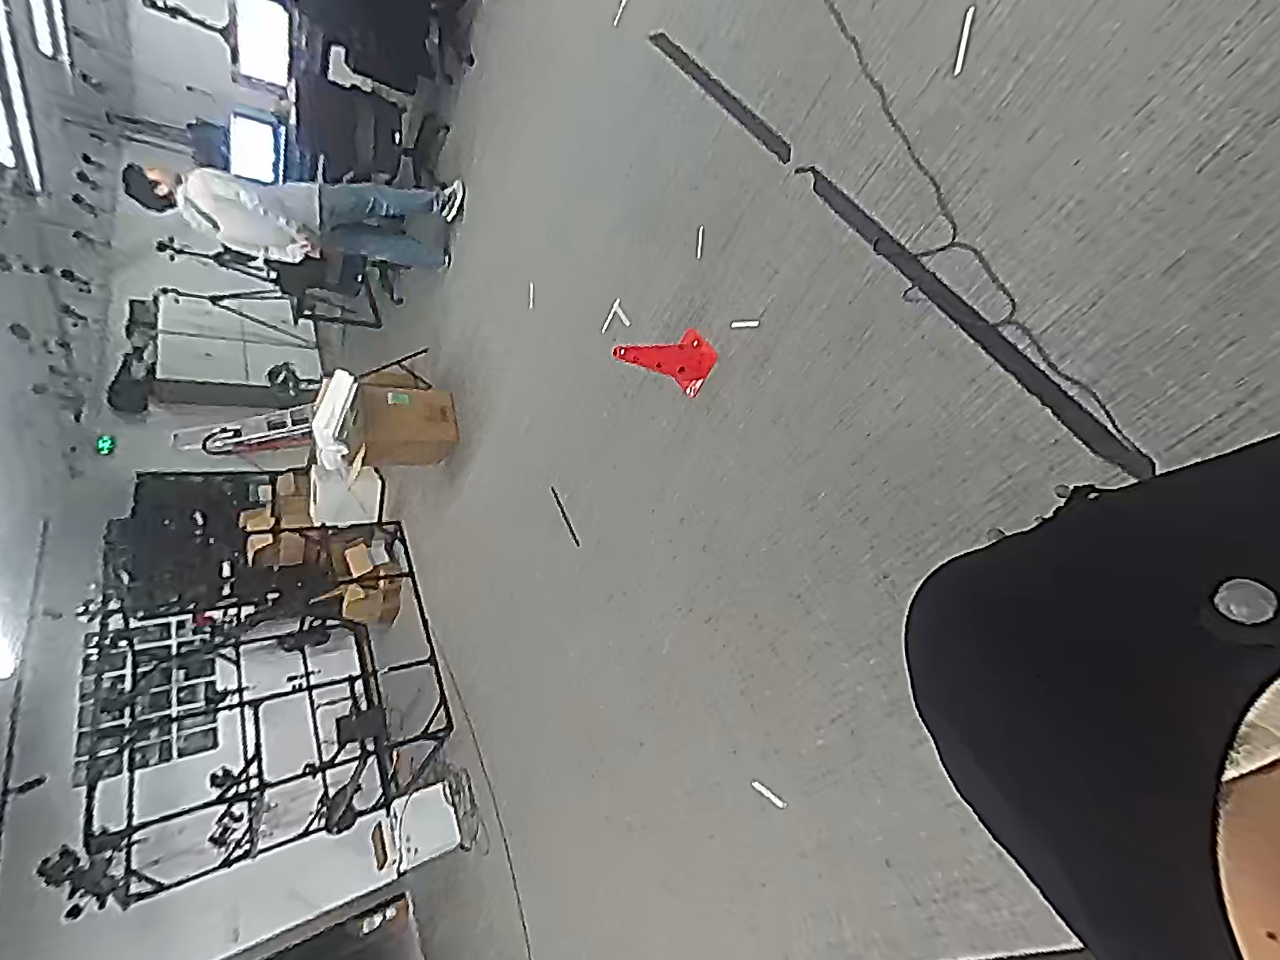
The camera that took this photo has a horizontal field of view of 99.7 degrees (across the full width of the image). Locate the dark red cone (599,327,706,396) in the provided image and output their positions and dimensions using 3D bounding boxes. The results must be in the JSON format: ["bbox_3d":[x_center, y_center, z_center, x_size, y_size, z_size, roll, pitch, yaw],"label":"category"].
[{"bbox_3d":[0.028,-0.436,1.901,0.202,0.394,0.201,55,130,34],"label":"dark red cone"}]
